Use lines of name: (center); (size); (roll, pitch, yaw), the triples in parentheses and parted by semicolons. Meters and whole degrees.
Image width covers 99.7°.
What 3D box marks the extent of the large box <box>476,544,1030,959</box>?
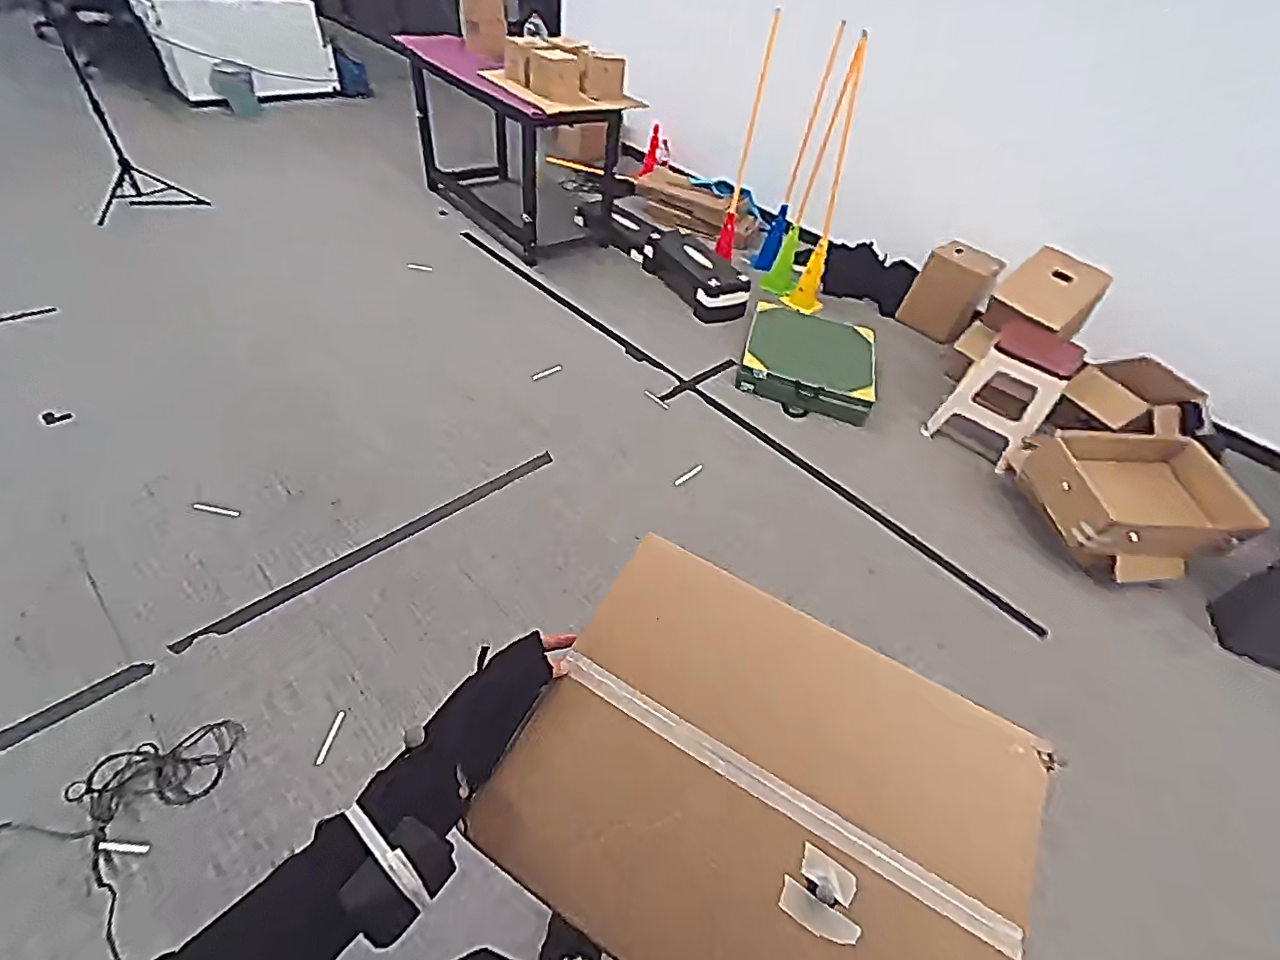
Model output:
large box: (0.103, 0.340, 0.591); (0.408, 0.320, 0.320); (27, 61, 16)
